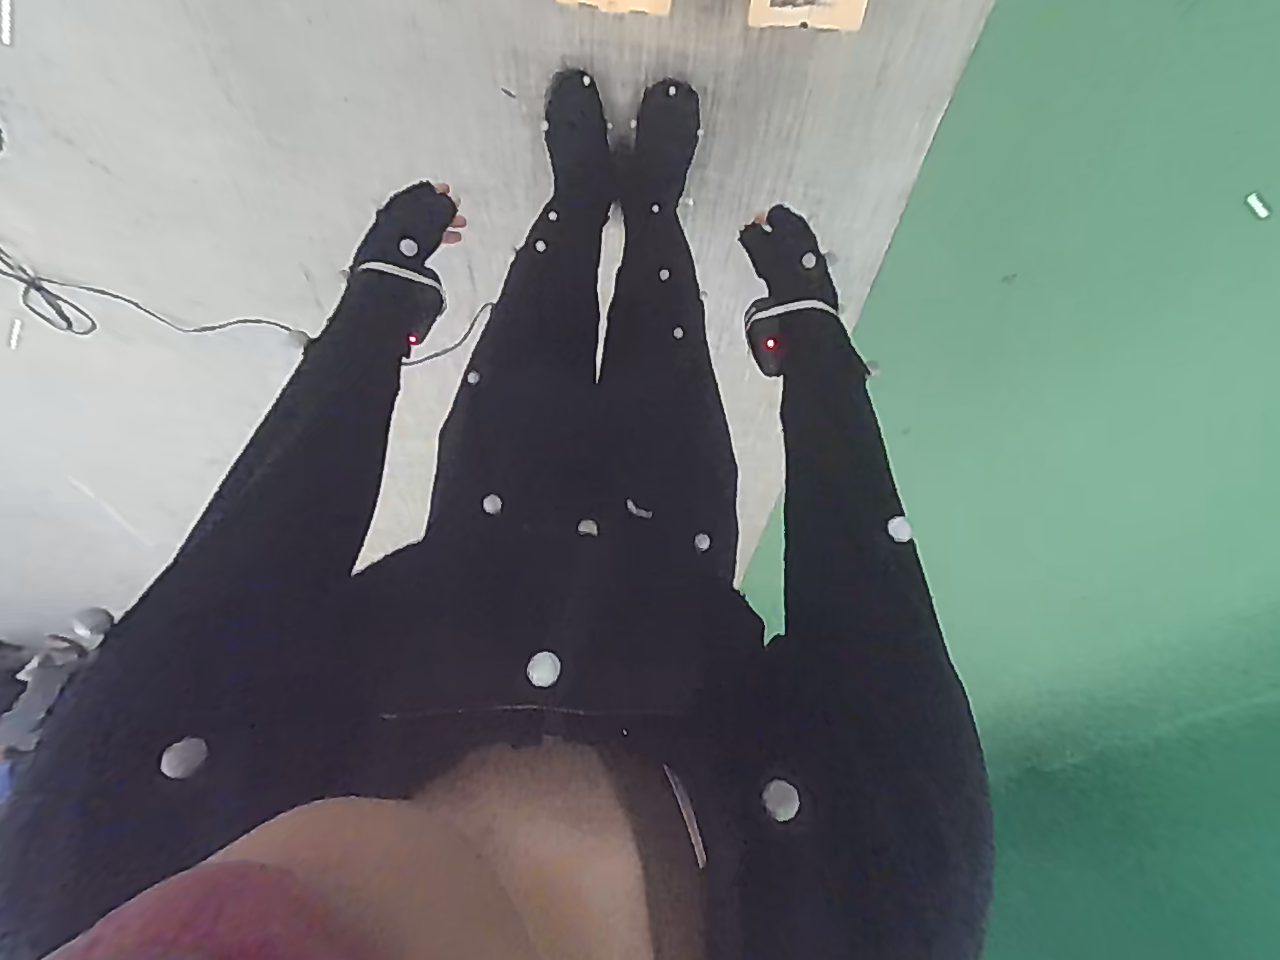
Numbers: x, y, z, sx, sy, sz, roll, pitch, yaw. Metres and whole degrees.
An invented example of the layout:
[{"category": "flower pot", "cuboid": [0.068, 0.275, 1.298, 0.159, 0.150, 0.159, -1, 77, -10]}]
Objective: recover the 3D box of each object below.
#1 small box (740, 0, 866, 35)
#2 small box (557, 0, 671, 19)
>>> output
[{"category": "small box", "cuboid": [0.239, -0.762, 0.761, 0.168, 0.176, 0.179, 3, 140, -1]}, {"category": "small box", "cuboid": [-0.029, -0.782, 0.753, 0.168, 0.176, 0.179, 5, 141, -3]}]
